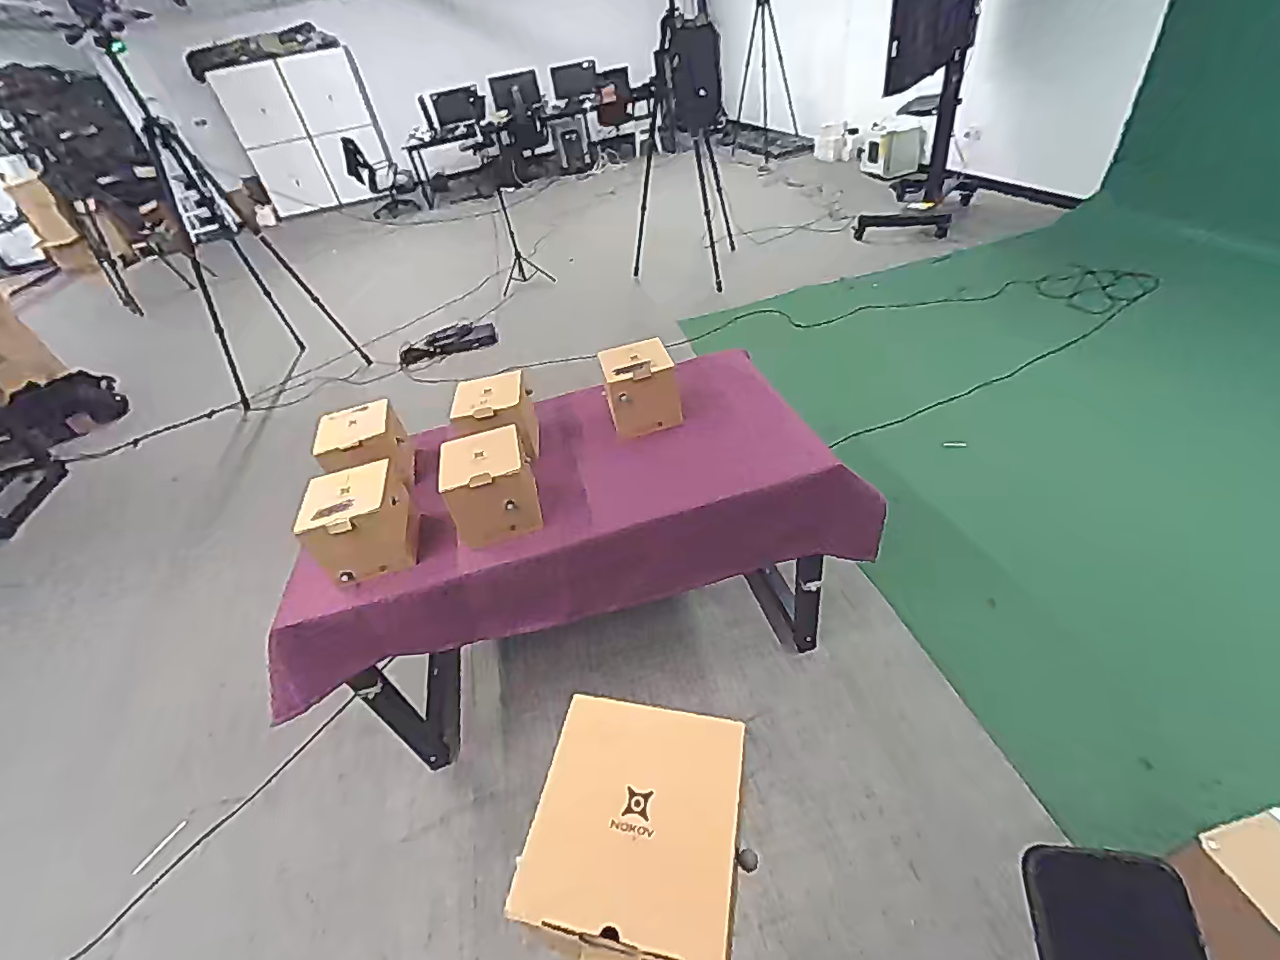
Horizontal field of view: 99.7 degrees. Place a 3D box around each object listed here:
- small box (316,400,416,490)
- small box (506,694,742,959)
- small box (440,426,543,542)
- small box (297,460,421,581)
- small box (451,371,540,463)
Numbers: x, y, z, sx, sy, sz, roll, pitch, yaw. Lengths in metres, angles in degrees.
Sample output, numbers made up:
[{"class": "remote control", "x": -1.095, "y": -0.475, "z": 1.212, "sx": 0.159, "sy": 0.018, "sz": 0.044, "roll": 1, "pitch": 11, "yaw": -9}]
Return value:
[{"class": "small box", "x": -0.671, "y": -0.067, "z": 1.347, "sx": 0.168, "sy": 0.176, "sz": 0.179, "roll": -18, "pitch": 41, "yaw": -9}, {"class": "small box", "x": 0.003, "y": 0.331, "z": 0.500, "sx": 0.168, "sy": 0.176, "sz": 0.179, "roll": 4, "pitch": 43, "yaw": 14}, {"class": "small box", "x": -0.315, "y": 0.014, "z": 1.166, "sx": 0.168, "sy": 0.176, "sz": 0.179, "roll": -16, "pitch": 39, "yaw": -5}, {"class": "small box", "x": -0.577, "y": 0.092, "z": 1.138, "sx": 0.168, "sy": 0.176, "sz": 0.179, "roll": -17, "pitch": 39, "yaw": -6}, {"class": "small box", "x": -0.354, "y": -0.147, "z": 1.362, "sx": 0.168, "sy": 0.176, "sz": 0.179, "roll": -12, "pitch": 40, "yaw": 1}]
